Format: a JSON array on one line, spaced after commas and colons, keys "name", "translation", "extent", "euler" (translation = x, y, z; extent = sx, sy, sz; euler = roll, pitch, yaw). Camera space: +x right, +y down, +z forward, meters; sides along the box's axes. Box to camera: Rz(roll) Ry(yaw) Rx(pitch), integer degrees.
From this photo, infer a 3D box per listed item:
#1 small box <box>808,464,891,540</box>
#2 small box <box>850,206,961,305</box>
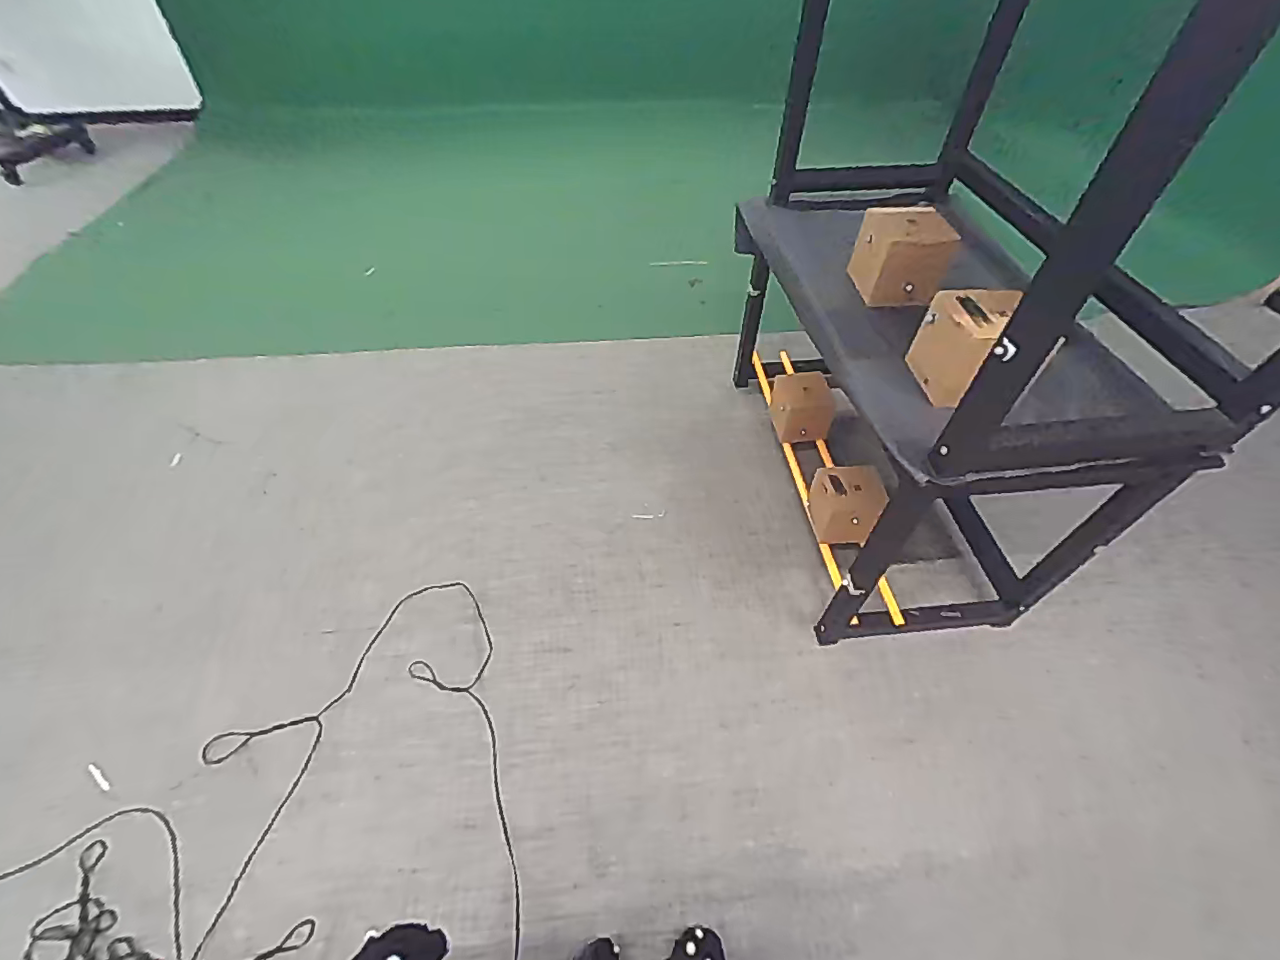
[{"name": "small box", "translation": [0.616, 0.070, 1.624], "extent": [0.179, 0.176, 0.168], "euler": [-2, 50, -2]}, {"name": "small box", "translation": [0.640, -0.553, 1.333], "extent": [0.168, 0.176, 0.179], "euler": [-2, 50, -2]}]
